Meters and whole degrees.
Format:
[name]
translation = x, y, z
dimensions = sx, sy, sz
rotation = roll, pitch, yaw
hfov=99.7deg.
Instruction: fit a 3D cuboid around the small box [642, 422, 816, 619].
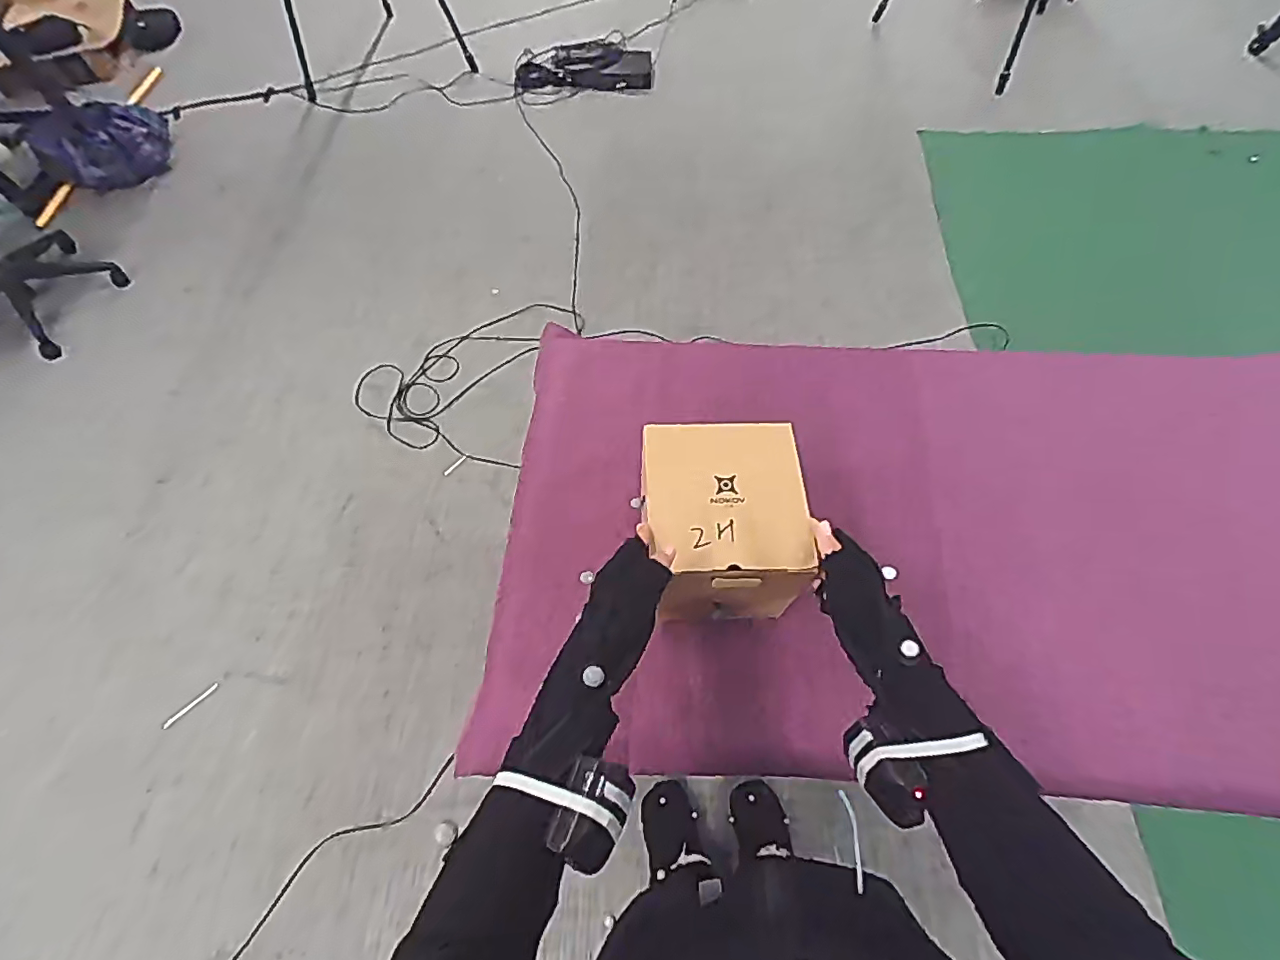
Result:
[small box]
translation = 0.086, 0.051, 0.624
dimensions = 0.168, 0.176, 0.179
rotation = -1, 61, 0
